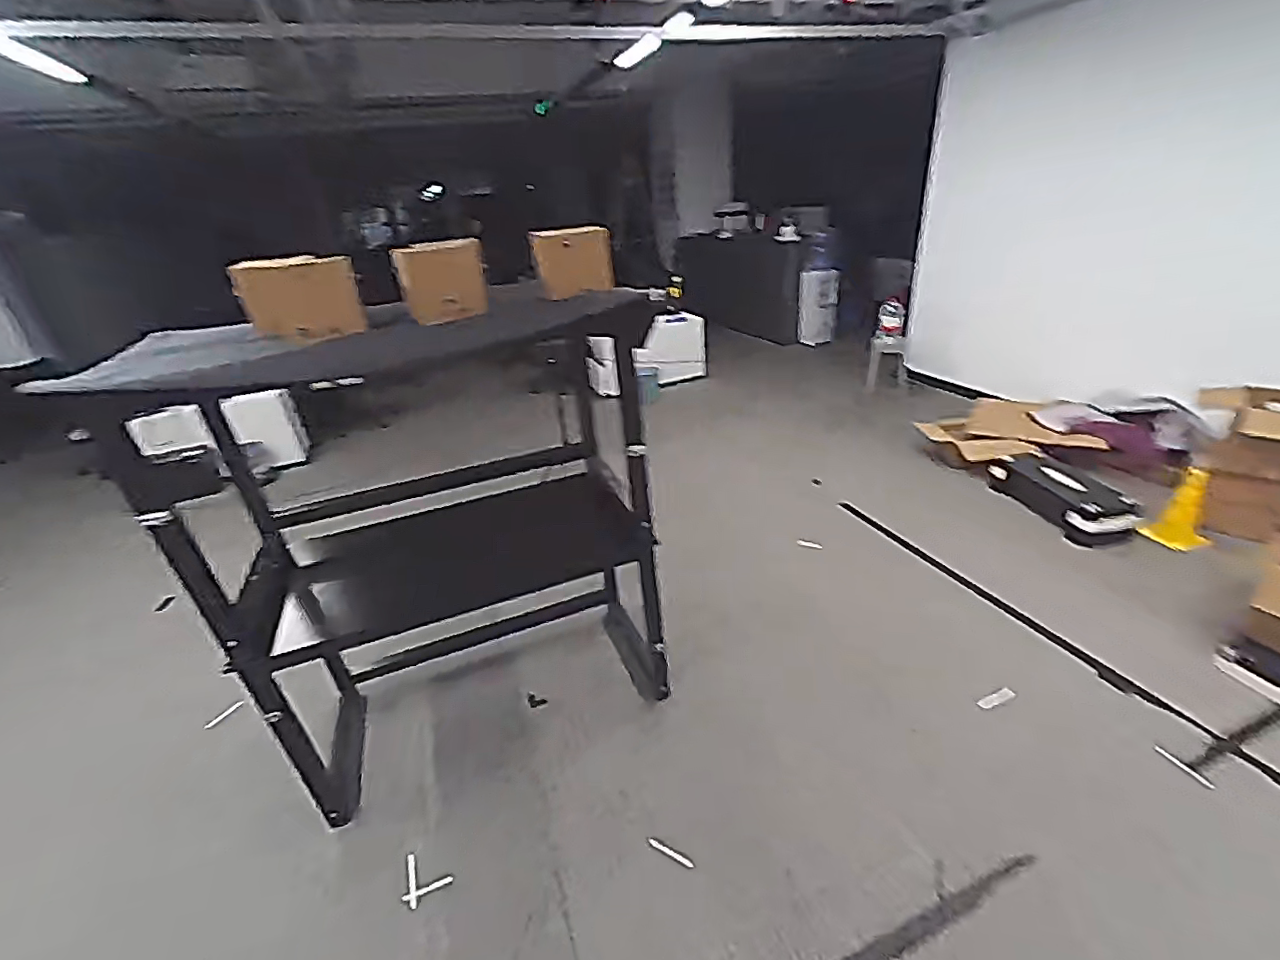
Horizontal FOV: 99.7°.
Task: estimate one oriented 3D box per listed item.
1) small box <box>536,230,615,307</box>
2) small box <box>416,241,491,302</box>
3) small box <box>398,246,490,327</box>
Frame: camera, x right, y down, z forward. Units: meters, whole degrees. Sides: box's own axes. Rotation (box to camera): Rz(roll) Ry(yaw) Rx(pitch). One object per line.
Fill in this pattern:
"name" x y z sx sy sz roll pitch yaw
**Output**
"small box" -0.173 -0.563 1.437 0.168 0.176 0.179 -14 28 -13
"small box" -0.532 -0.587 1.556 0.179 0.176 0.168 -13 28 -15
"small box" -0.492 -0.490 1.362 0.168 0.176 0.179 -19 31 -24
